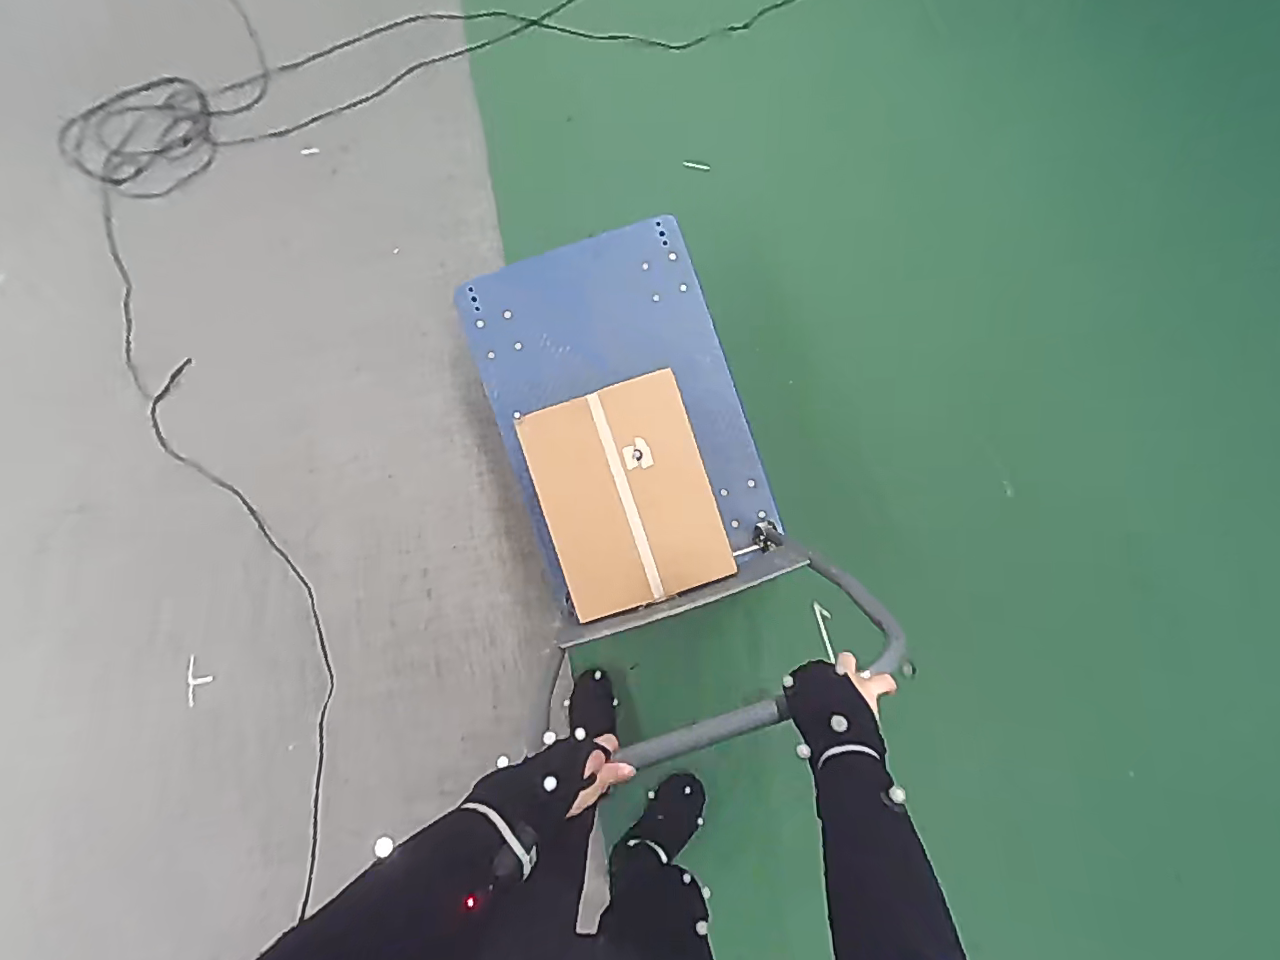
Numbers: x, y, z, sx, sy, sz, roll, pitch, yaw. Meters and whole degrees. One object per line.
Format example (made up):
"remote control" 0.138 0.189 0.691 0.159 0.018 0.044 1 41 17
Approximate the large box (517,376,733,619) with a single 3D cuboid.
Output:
"large box" -0.026 0.037 1.180 0.320 0.320 0.408 -19 89 0
